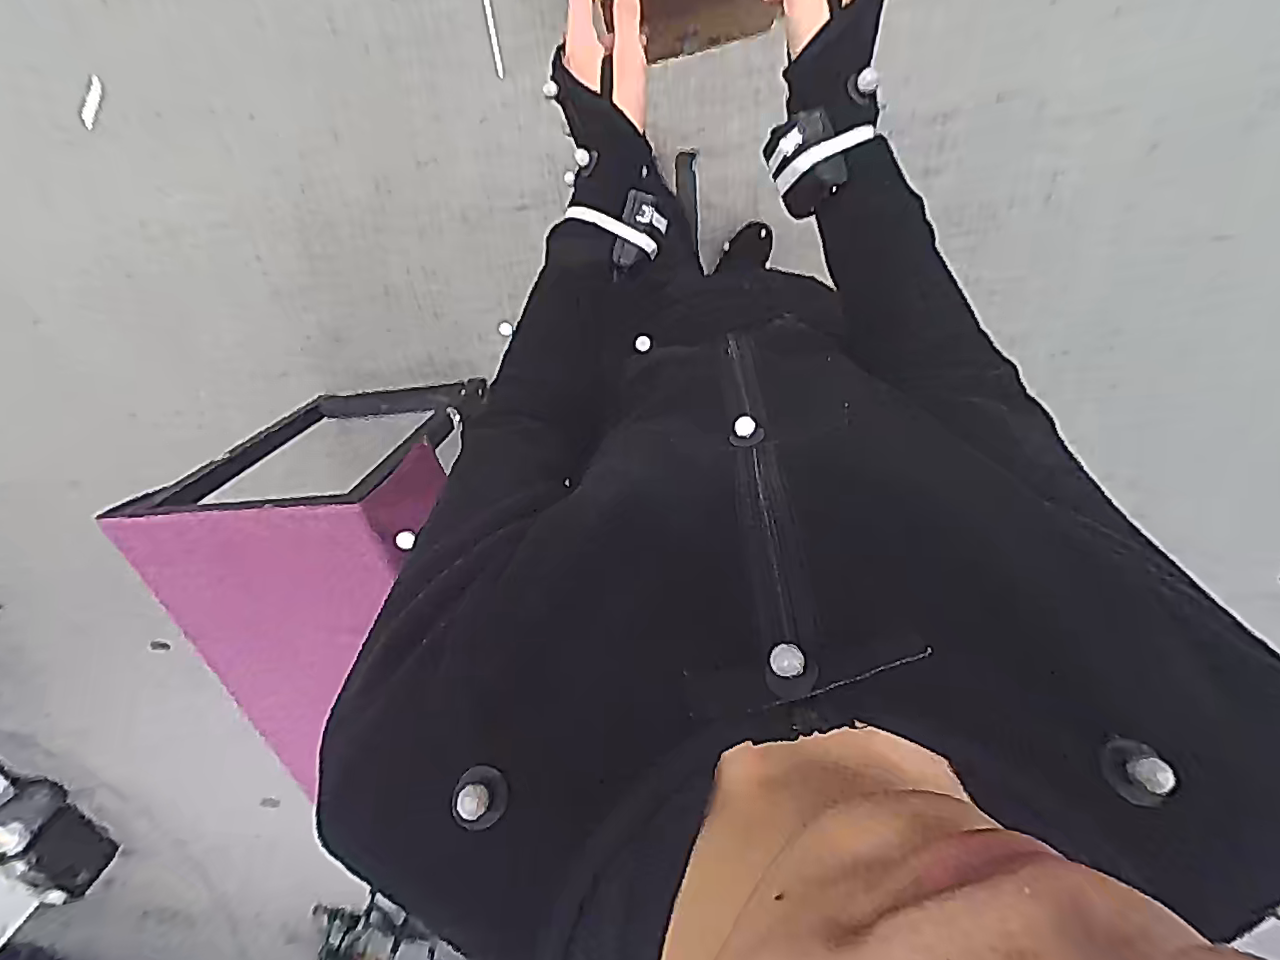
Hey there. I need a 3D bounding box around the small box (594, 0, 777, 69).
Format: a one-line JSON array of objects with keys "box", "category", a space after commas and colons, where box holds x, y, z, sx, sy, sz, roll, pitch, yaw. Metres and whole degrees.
[{"box": [0.028, -0.487, 0.444, 0.168, 0.176, 0.179, -11, 109, 7], "category": "small box"}]
